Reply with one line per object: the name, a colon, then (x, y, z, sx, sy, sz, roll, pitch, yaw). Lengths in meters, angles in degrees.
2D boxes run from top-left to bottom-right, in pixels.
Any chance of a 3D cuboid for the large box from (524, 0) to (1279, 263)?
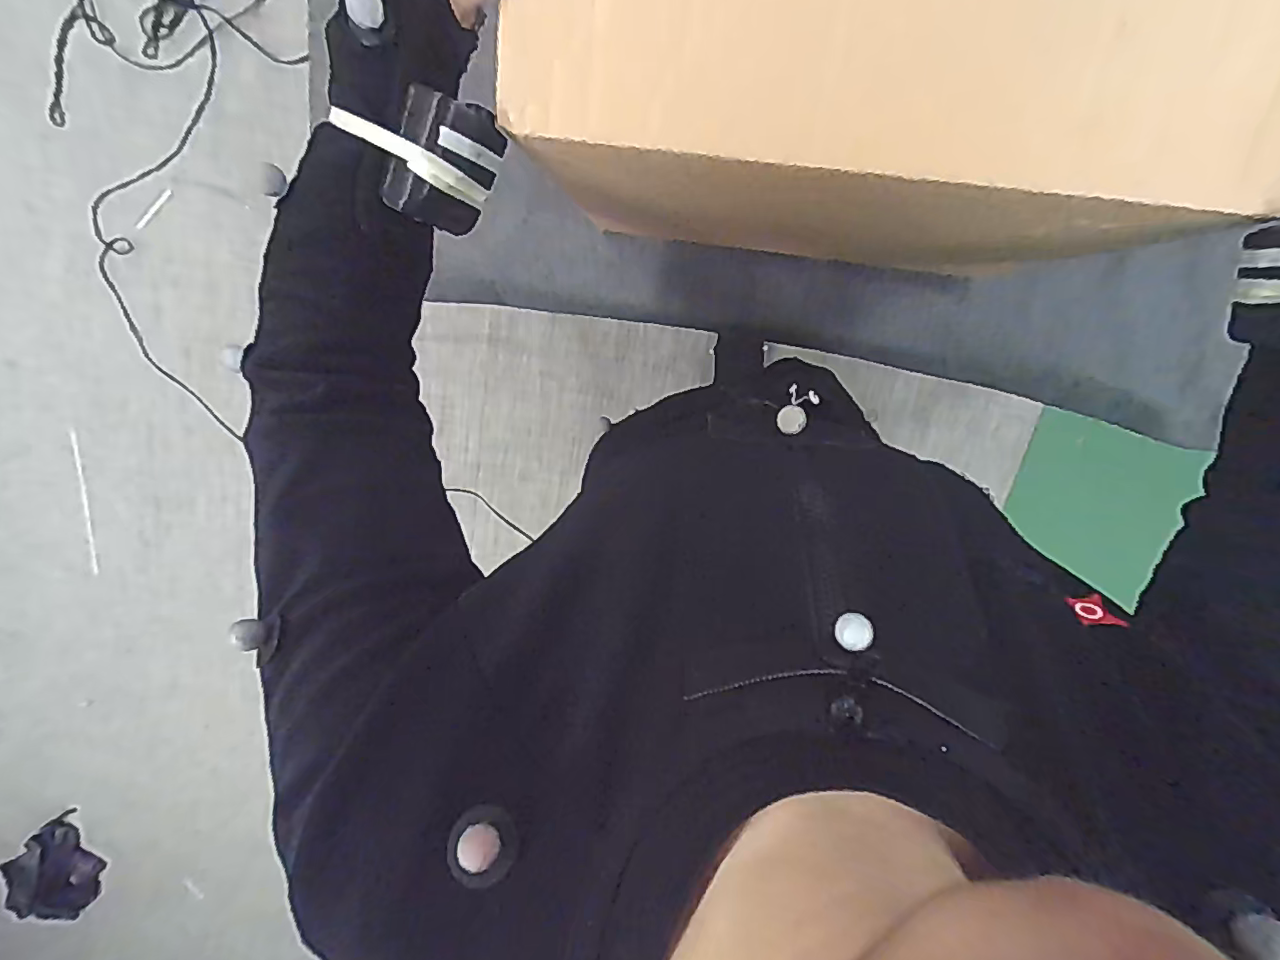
large box: (0.155, -0.352, 0.387, 0.408, 0.320, 0.320, 7, 107, 2)
